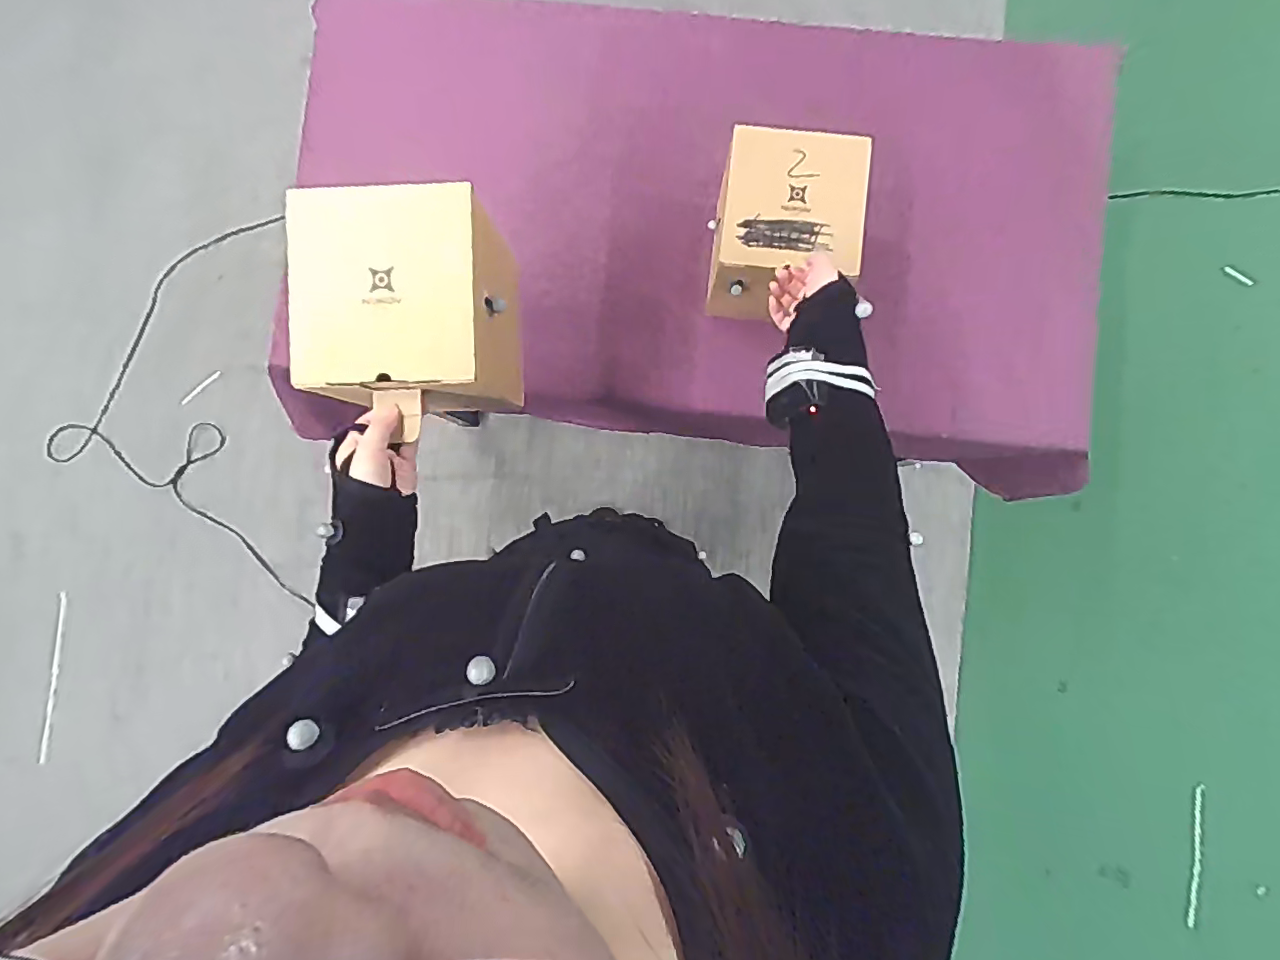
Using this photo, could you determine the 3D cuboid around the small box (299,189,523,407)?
[{"bbox_3d":[-0.224,-0.175,0.567,0.168,0.176,0.179,-1,91,2],"label":"small box"}]
